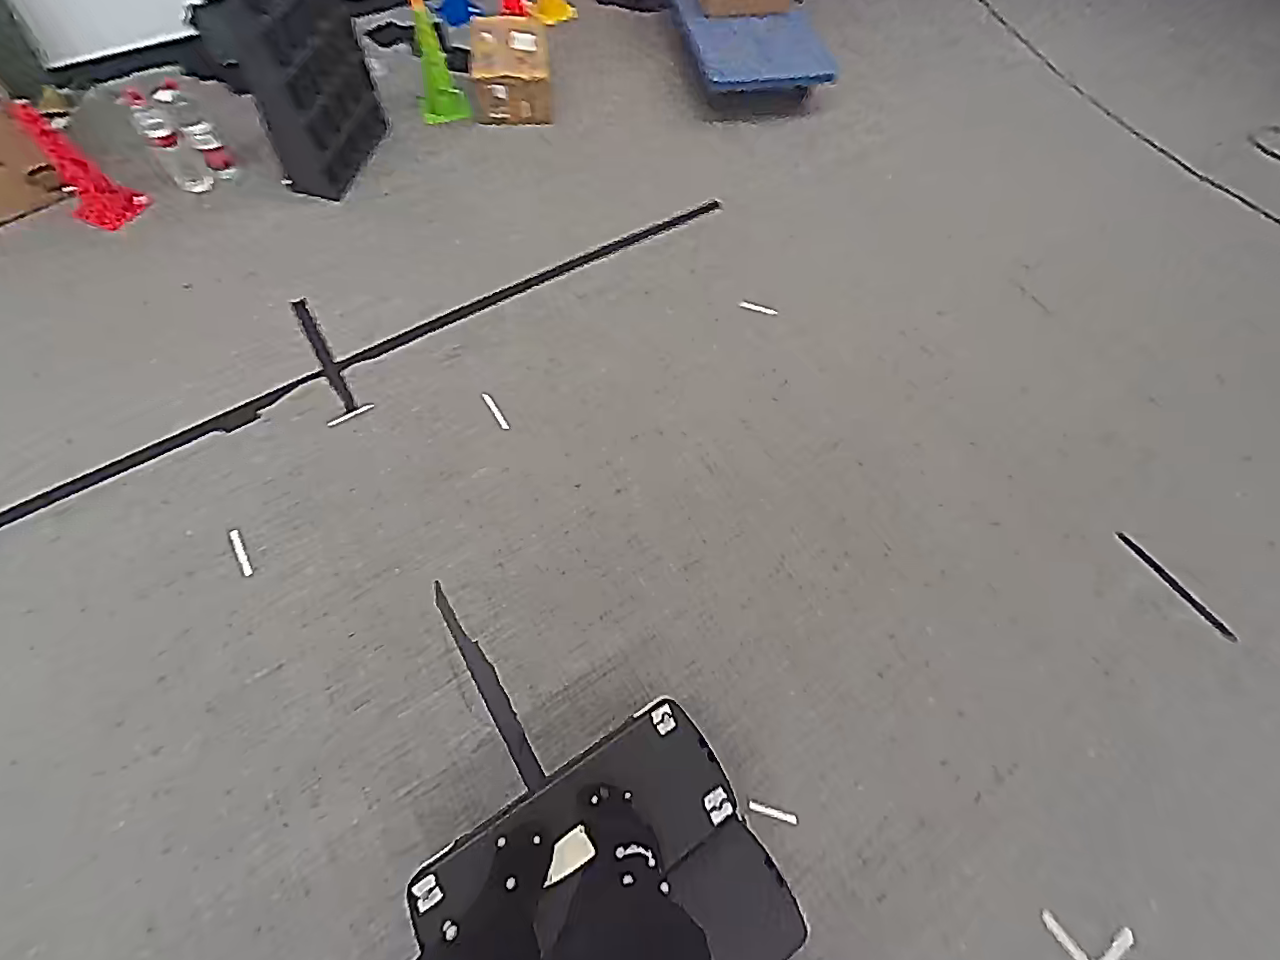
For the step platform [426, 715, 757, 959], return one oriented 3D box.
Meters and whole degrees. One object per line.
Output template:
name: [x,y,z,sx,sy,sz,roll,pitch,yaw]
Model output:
step platform: [-0.092,0.801,1.167,0.684,0.204,0.286,-25,68,-16]
